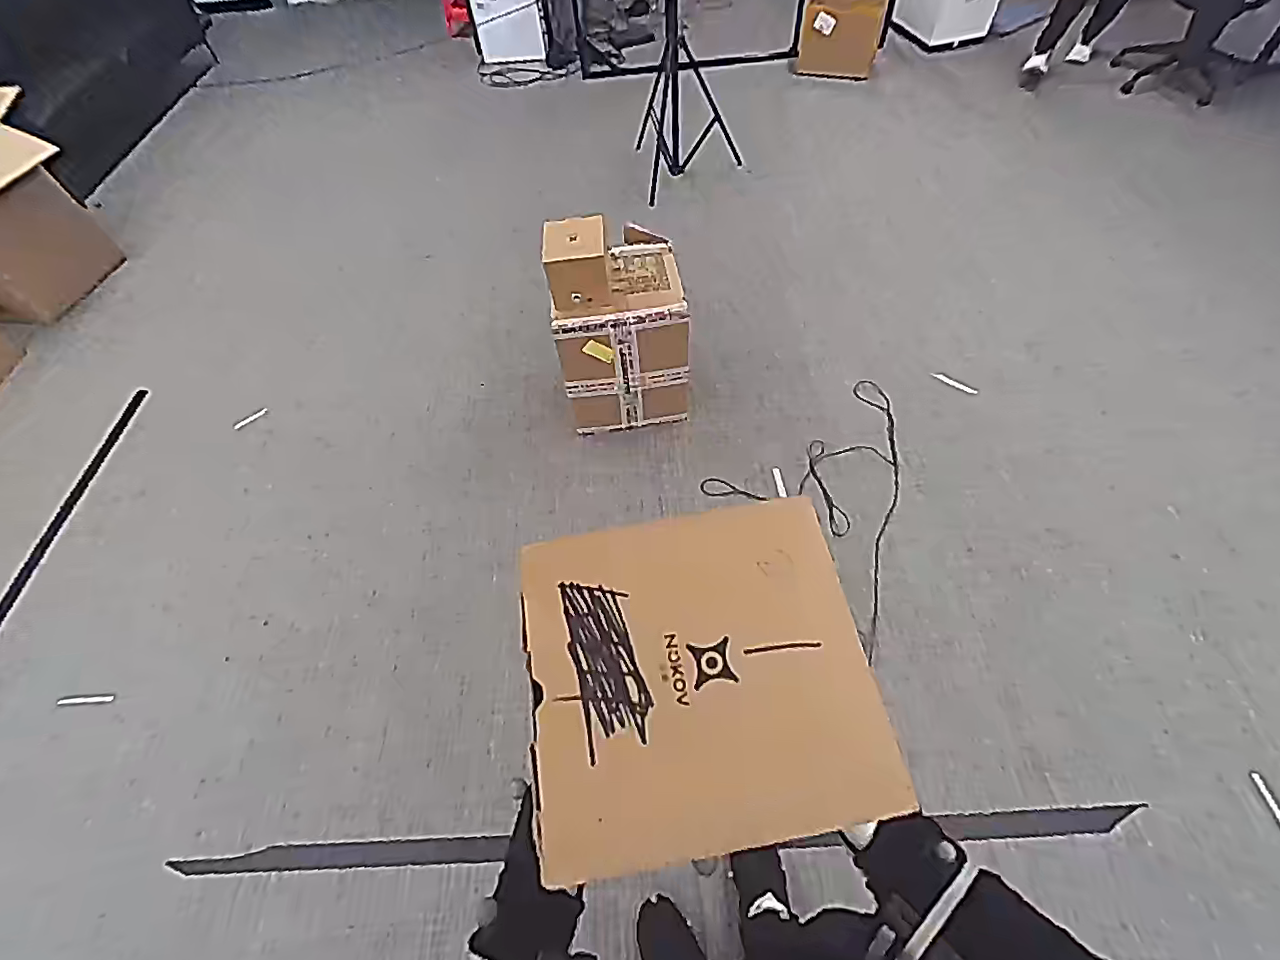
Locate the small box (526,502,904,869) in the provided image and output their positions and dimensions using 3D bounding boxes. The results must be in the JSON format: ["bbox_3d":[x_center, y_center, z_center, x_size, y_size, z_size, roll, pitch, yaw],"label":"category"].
[{"bbox_3d":[0.033,0.135,0.361,0.179,0.176,0.168,-10,63,-3],"label":"small box"}]

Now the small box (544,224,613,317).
[{"bbox_3d":[-0.171,-0.588,1.526,0.168,0.176,0.179,-6,60,2],"label":"small box"}]
